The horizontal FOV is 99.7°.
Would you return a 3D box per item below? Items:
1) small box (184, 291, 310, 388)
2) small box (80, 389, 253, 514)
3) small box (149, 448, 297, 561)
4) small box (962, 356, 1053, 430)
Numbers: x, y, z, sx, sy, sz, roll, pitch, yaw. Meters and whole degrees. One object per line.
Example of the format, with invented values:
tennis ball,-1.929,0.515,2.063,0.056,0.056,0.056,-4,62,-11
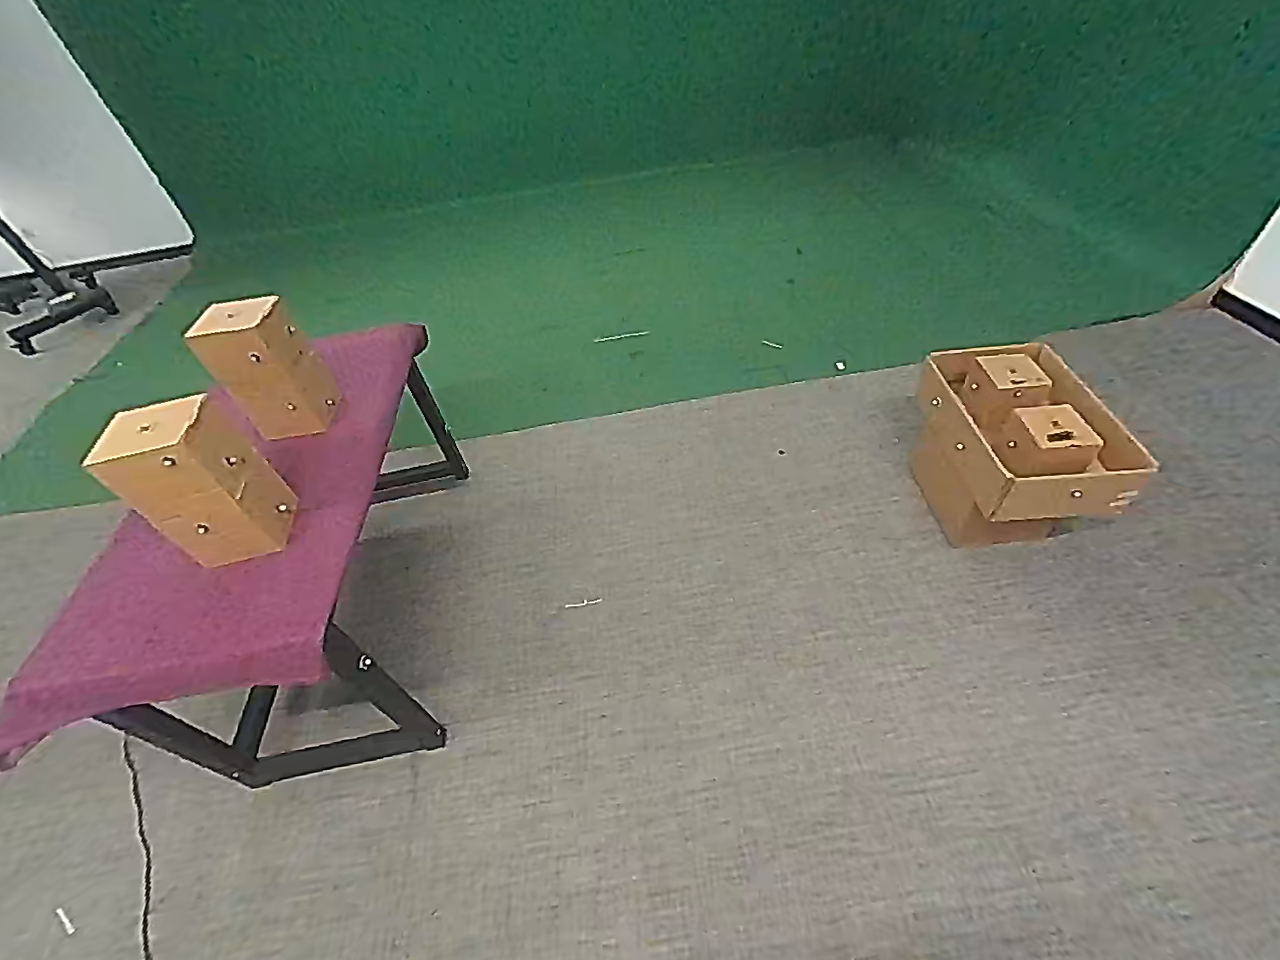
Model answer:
small box,-0.992,-0.358,1.386,0.179,0.176,0.168,-8,46,0
small box,-0.937,-0.054,1.092,0.179,0.176,0.168,-14,46,-6
small box,-0.916,0.059,1.208,0.179,0.176,0.168,-13,47,-4
small box,1.195,-0.286,1.777,0.168,0.176,0.179,-4,46,4
